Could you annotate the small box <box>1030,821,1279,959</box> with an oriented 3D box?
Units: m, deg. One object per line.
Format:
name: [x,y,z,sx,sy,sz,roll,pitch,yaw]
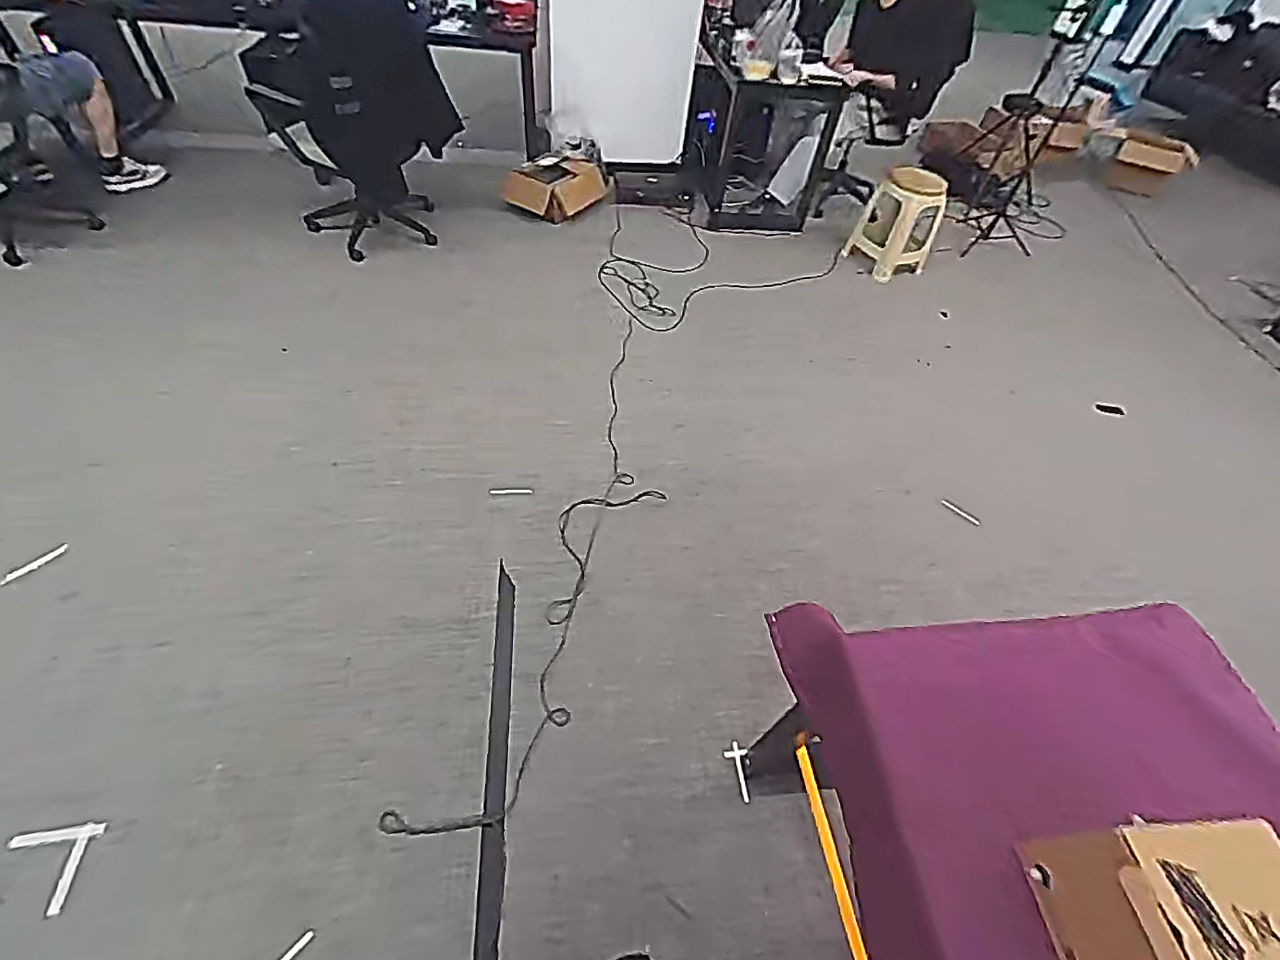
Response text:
small box: [0.558,0.466,0.565,0.179,0.176,0.168,2,51,-7]
